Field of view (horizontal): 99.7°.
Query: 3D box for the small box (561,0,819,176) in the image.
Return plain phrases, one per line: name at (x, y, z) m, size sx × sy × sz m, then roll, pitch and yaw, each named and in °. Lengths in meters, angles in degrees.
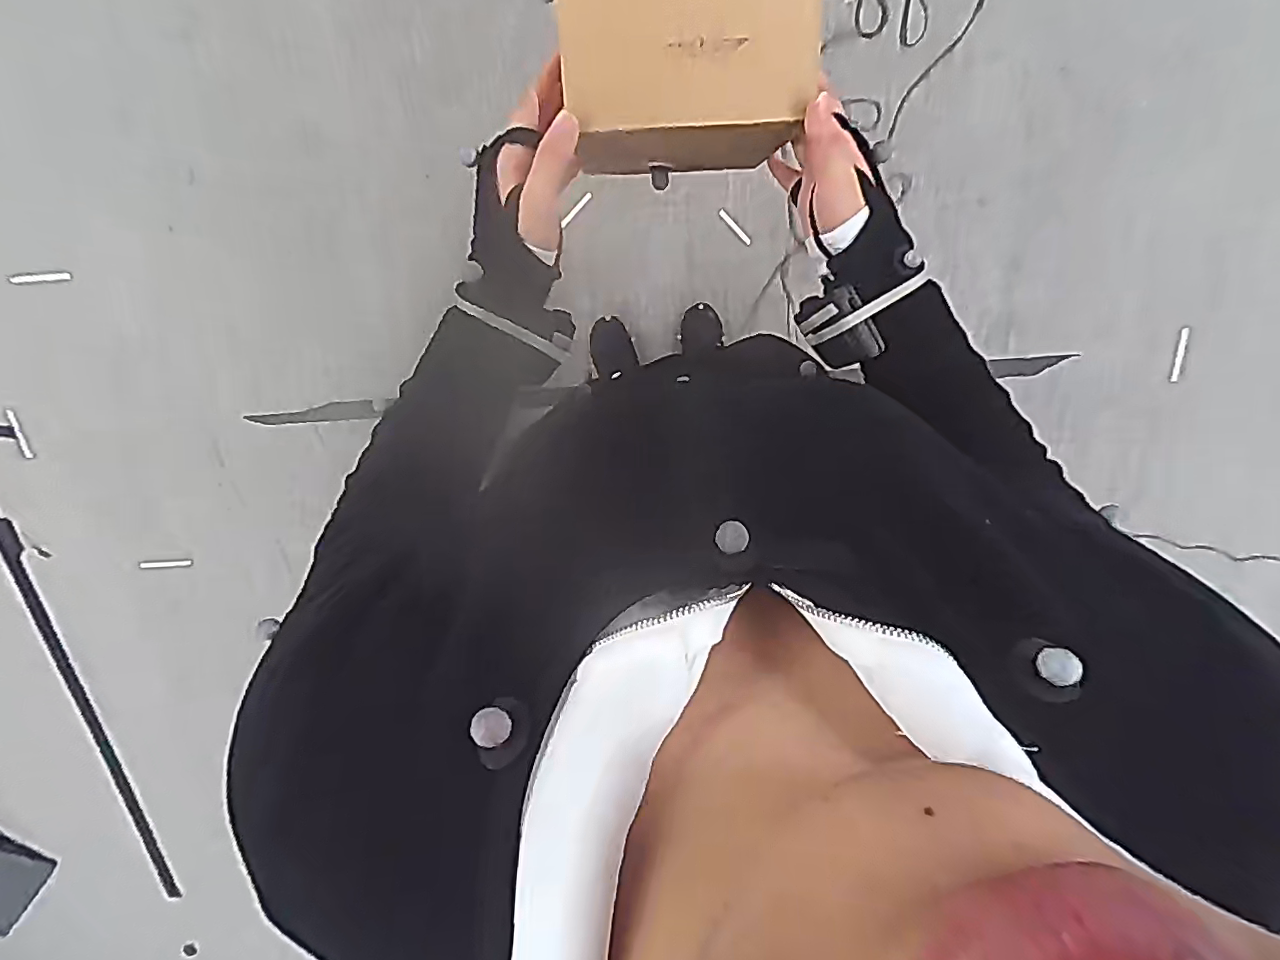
small box at (0.028, -0.346, 0.407) m, size 0.168 × 0.176 × 0.179 m, roll -3°, pitch 111°, yaw 0°
